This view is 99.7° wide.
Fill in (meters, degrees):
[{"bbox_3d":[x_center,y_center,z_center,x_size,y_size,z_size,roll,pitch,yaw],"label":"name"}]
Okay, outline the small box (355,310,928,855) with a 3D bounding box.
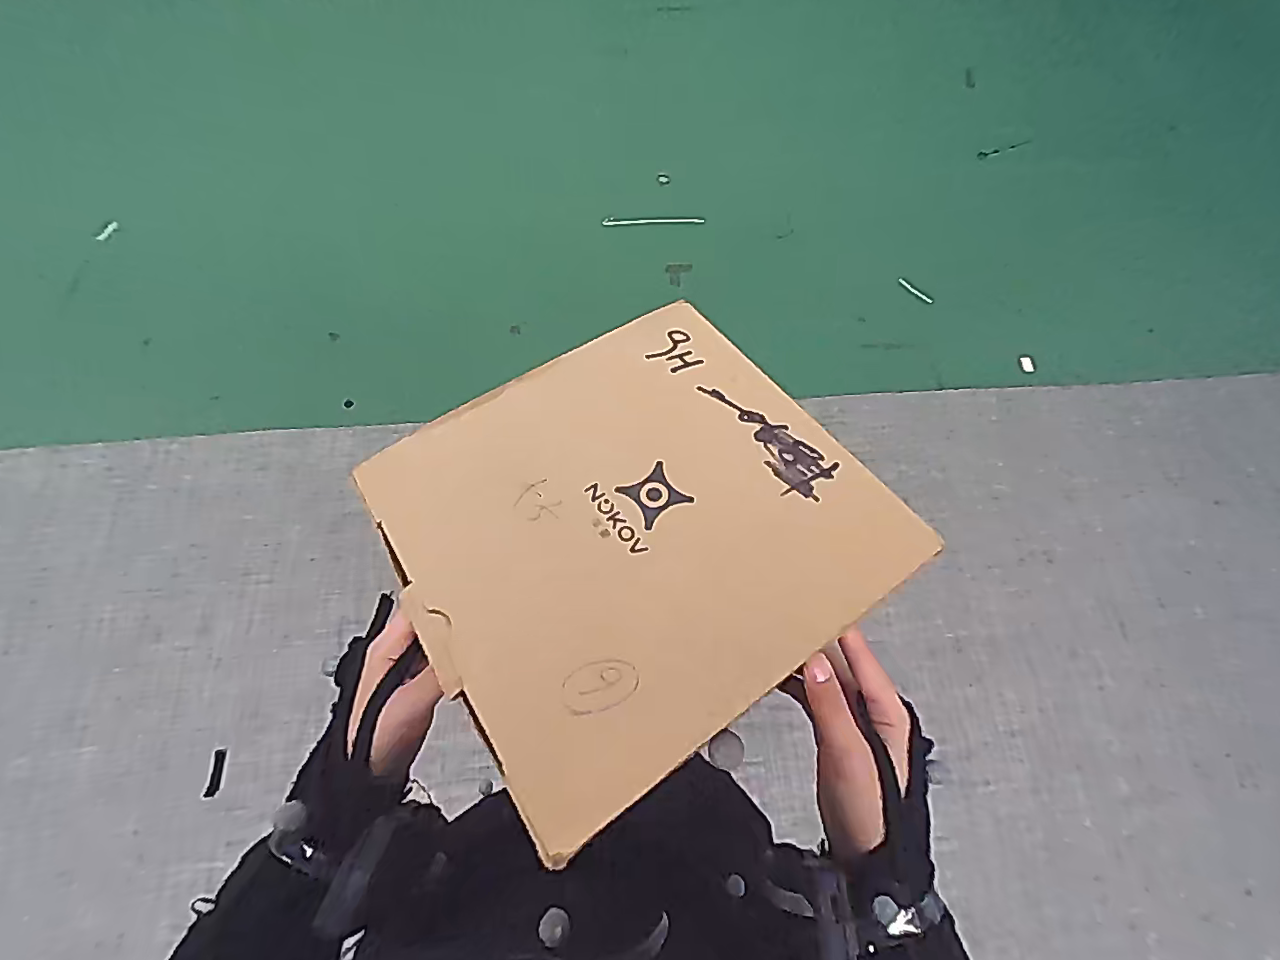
[{"bbox_3d":[-0.002,0.054,0.283,0.179,0.176,0.168,-32,64,-16],"label":"small box"}]
